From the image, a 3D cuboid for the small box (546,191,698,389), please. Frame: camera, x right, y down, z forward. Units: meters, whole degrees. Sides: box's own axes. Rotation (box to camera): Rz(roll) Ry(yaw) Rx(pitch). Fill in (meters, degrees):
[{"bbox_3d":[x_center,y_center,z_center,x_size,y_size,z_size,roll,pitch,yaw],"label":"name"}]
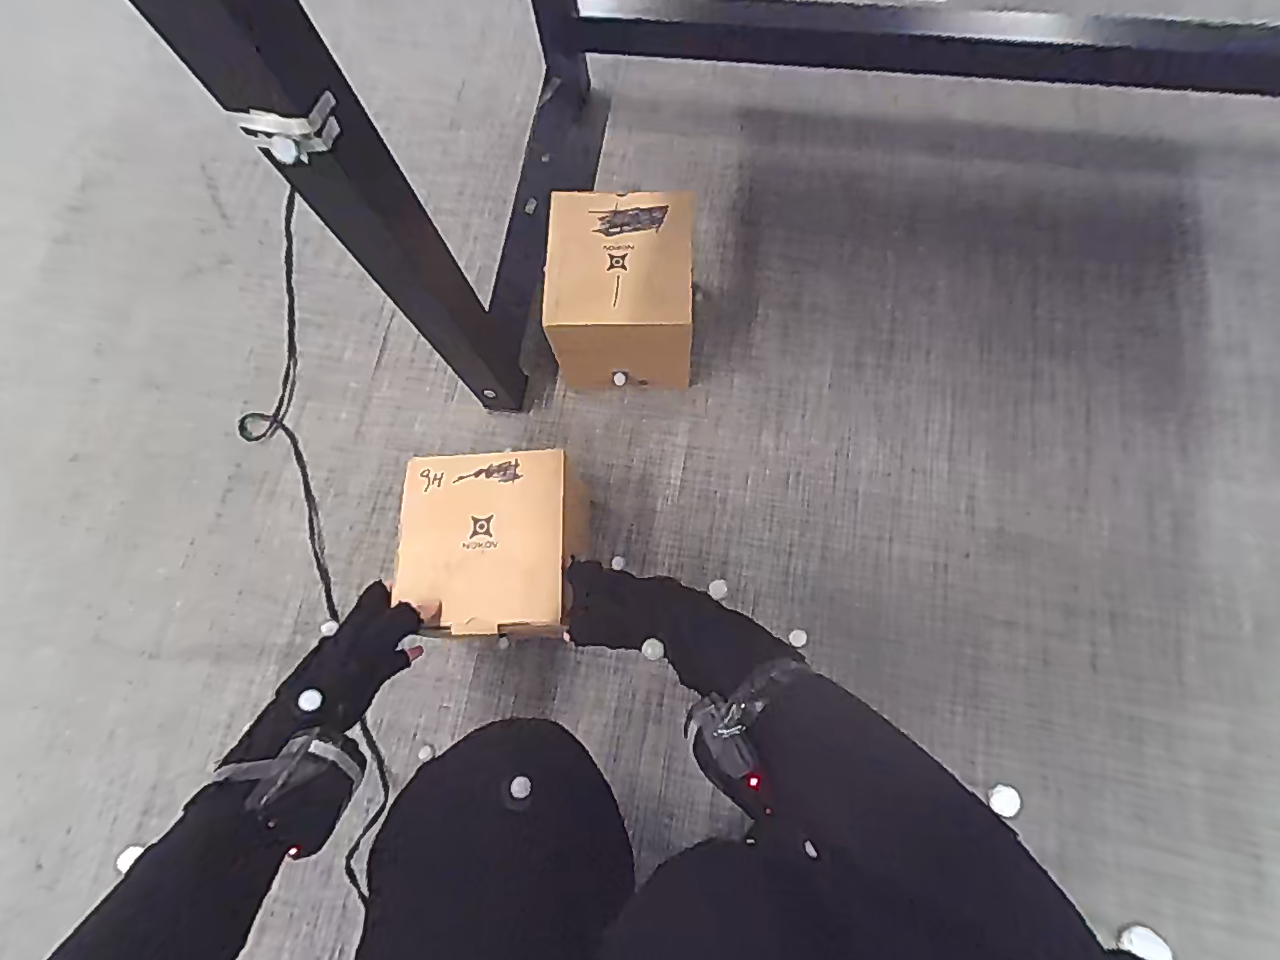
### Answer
[{"bbox_3d":[-0.015,-0.232,0.685,0.168,0.176,0.179,1,76,3],"label":"small box"}]
